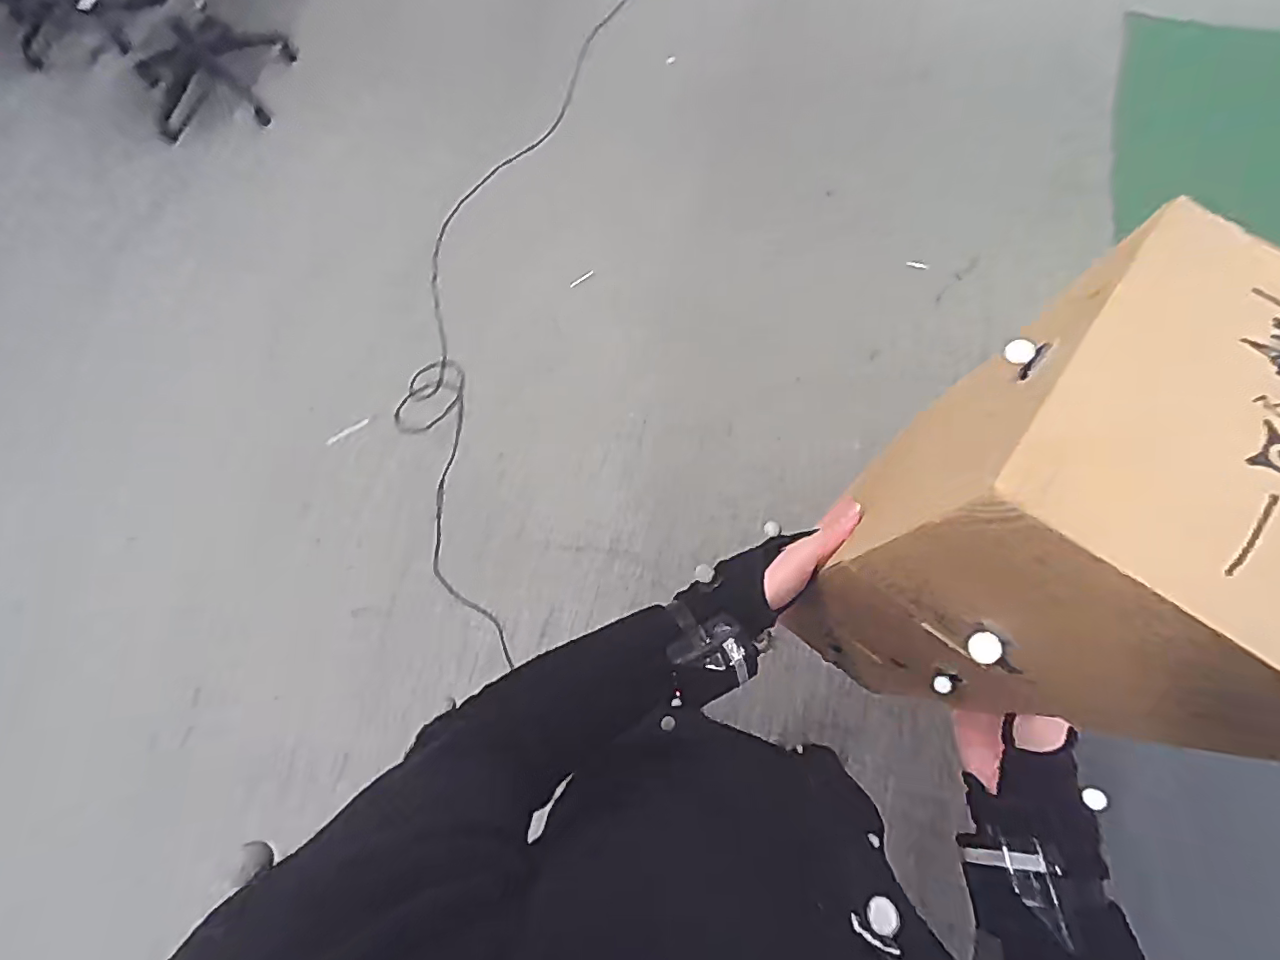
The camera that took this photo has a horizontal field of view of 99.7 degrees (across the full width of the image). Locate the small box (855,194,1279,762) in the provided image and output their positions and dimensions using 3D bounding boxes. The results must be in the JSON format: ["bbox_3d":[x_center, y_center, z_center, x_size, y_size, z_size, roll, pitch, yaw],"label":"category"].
[{"bbox_3d":[0.243,0.009,0.278,0.168,0.176,0.179,37,78,12],"label":"small box"}]

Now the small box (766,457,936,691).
[{"bbox_3d":[0.255,0.102,0.591,0.168,0.176,0.179,37,77,12],"label":"small box"}]

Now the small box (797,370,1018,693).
[{"bbox_3d":[0.247,0.054,0.436,0.168,0.176,0.179,35,75,11],"label":"small box"}]
